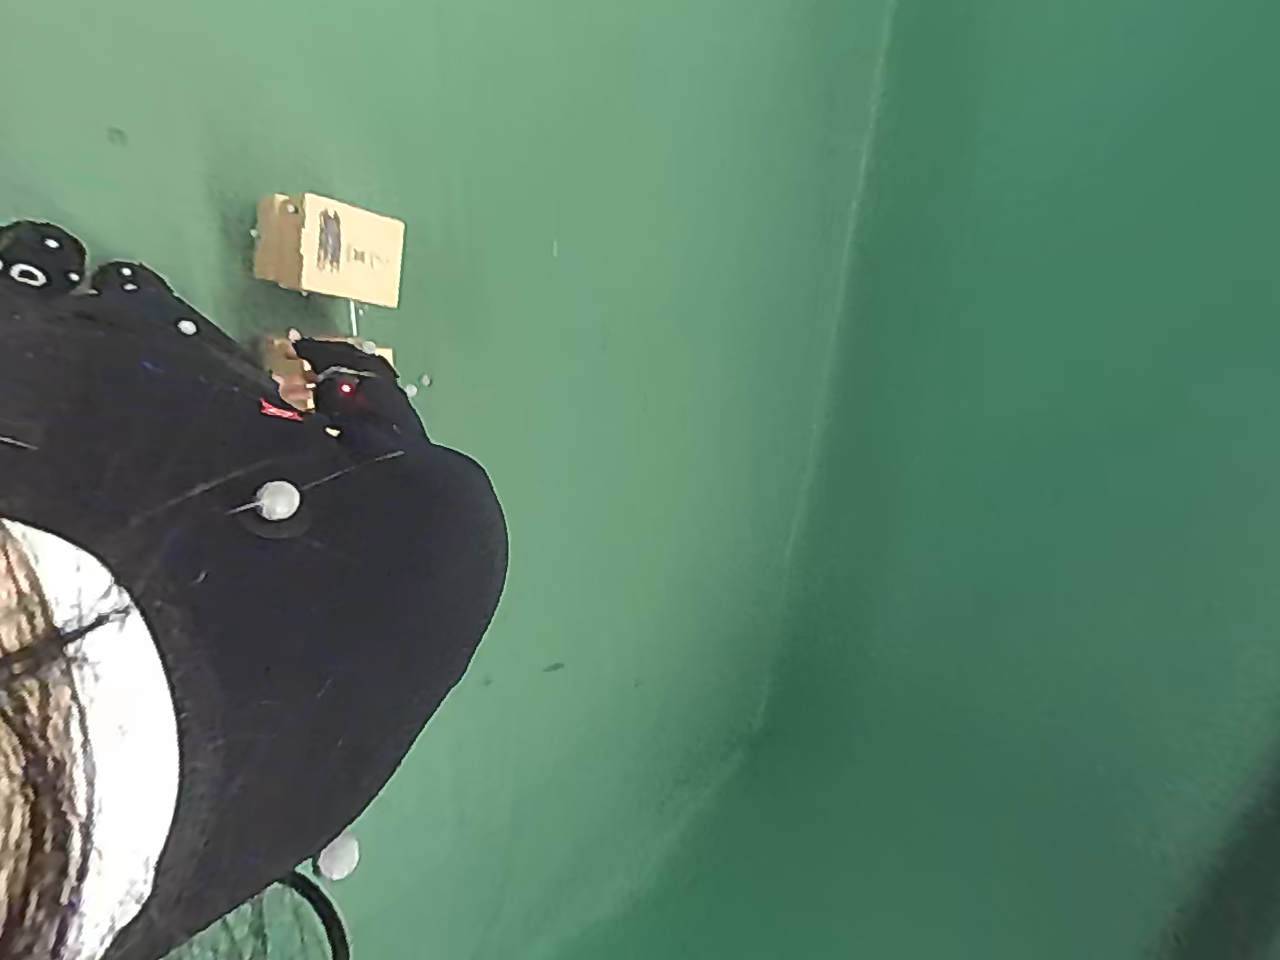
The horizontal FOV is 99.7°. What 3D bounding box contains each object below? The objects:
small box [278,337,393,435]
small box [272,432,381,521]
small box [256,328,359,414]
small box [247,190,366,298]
[{"bbox_3d":[-0.637,-0.203,1.131,0.168,0.176,0.179,-12,115,-43],"label":"small box"},{"bbox_3d":[-0.764,-0.023,1.321,0.179,0.176,0.168,-19,119,-40],"label":"small box"},{"bbox_3d":[-0.754,-0.254,1.234,0.179,0.176,0.168,-16,117,-42],"label":"small box"},{"bbox_3d":[-0.720,-0.502,1.165,0.179,0.176,0.168,2,104,-46],"label":"small box"}]
